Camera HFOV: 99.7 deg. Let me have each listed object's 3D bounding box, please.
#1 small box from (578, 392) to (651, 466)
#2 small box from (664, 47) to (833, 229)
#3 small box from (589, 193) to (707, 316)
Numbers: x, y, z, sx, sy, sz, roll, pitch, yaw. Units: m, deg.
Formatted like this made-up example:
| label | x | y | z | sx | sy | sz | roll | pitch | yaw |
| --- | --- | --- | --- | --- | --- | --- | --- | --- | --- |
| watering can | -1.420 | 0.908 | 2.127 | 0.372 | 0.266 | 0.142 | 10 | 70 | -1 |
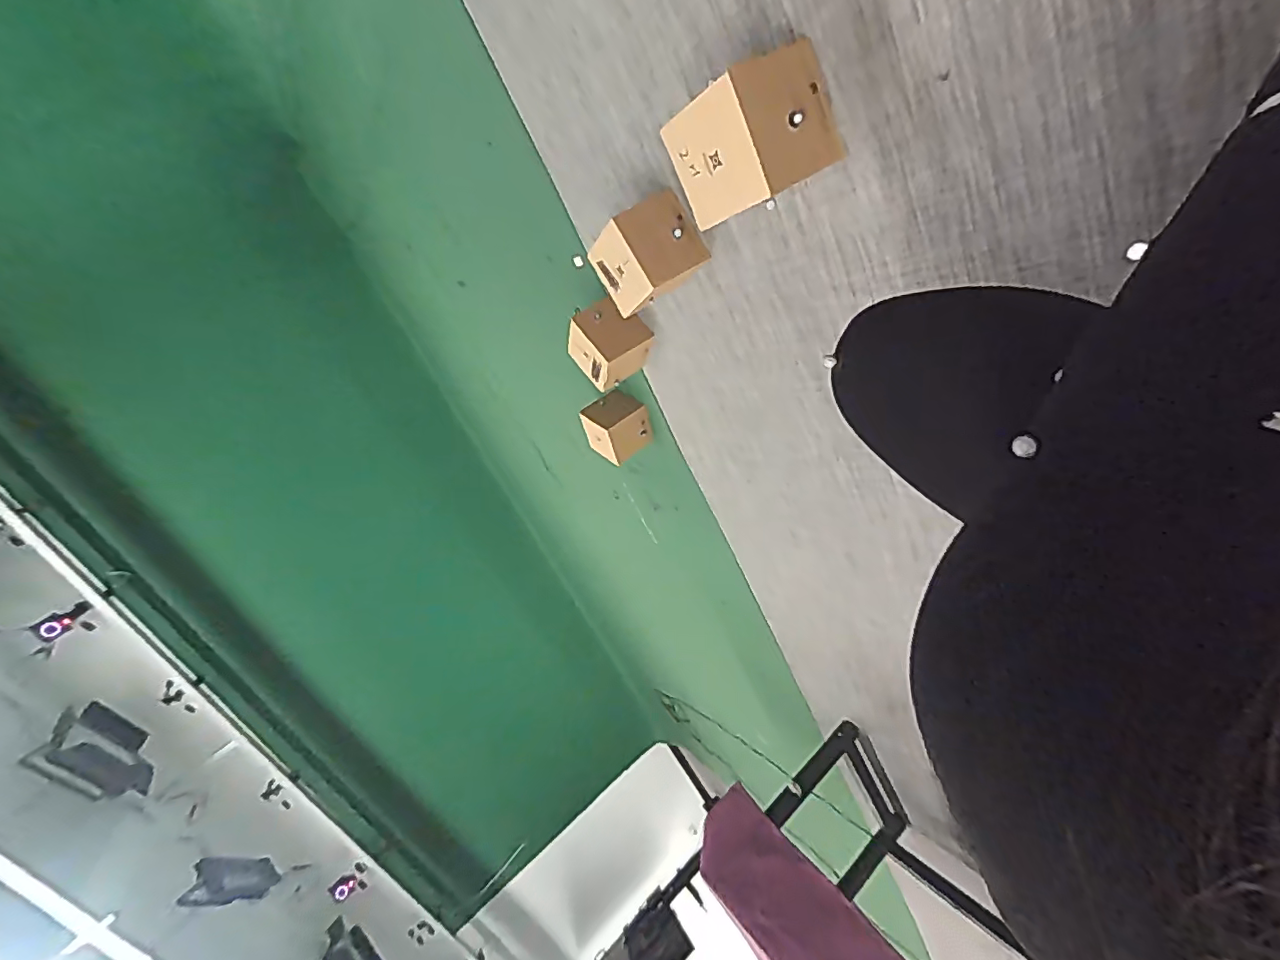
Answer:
| label | x | y | z | sx | sy | sz | roll | pitch | yaw |
| --- | --- | --- | --- | --- | --- | --- | --- | --- | --- |
| small box | -0.085 | -0.186 | 1.898 | 0.179 | 0.176 | 0.168 | 35 | 152 | 41 |
| small box | 0.174 | -0.524 | 0.840 | 0.179 | 0.176 | 0.168 | 13 | 133 | 60 |
| small box | 0.017 | -0.499 | 1.205 | 0.168 | 0.176 | 0.179 | 58 | 158 | -9 |
